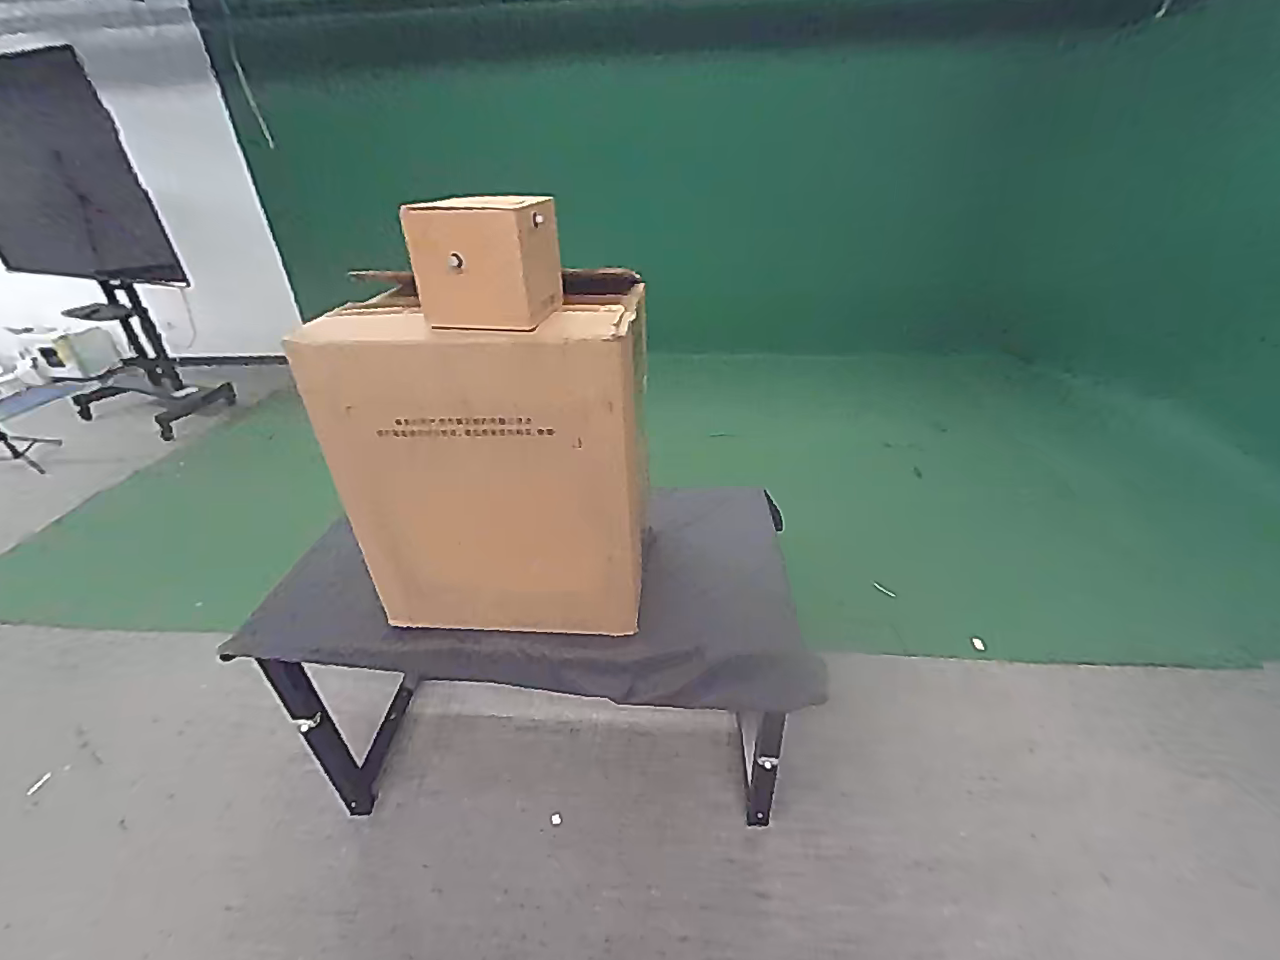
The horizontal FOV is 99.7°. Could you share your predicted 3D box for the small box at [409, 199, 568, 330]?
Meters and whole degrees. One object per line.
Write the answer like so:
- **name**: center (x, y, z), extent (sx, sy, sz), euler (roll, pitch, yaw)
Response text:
- **small box**: center (-0.225, -0.343, 0.855), extent (0.179, 0.176, 0.168), euler (5, 33, 10)
